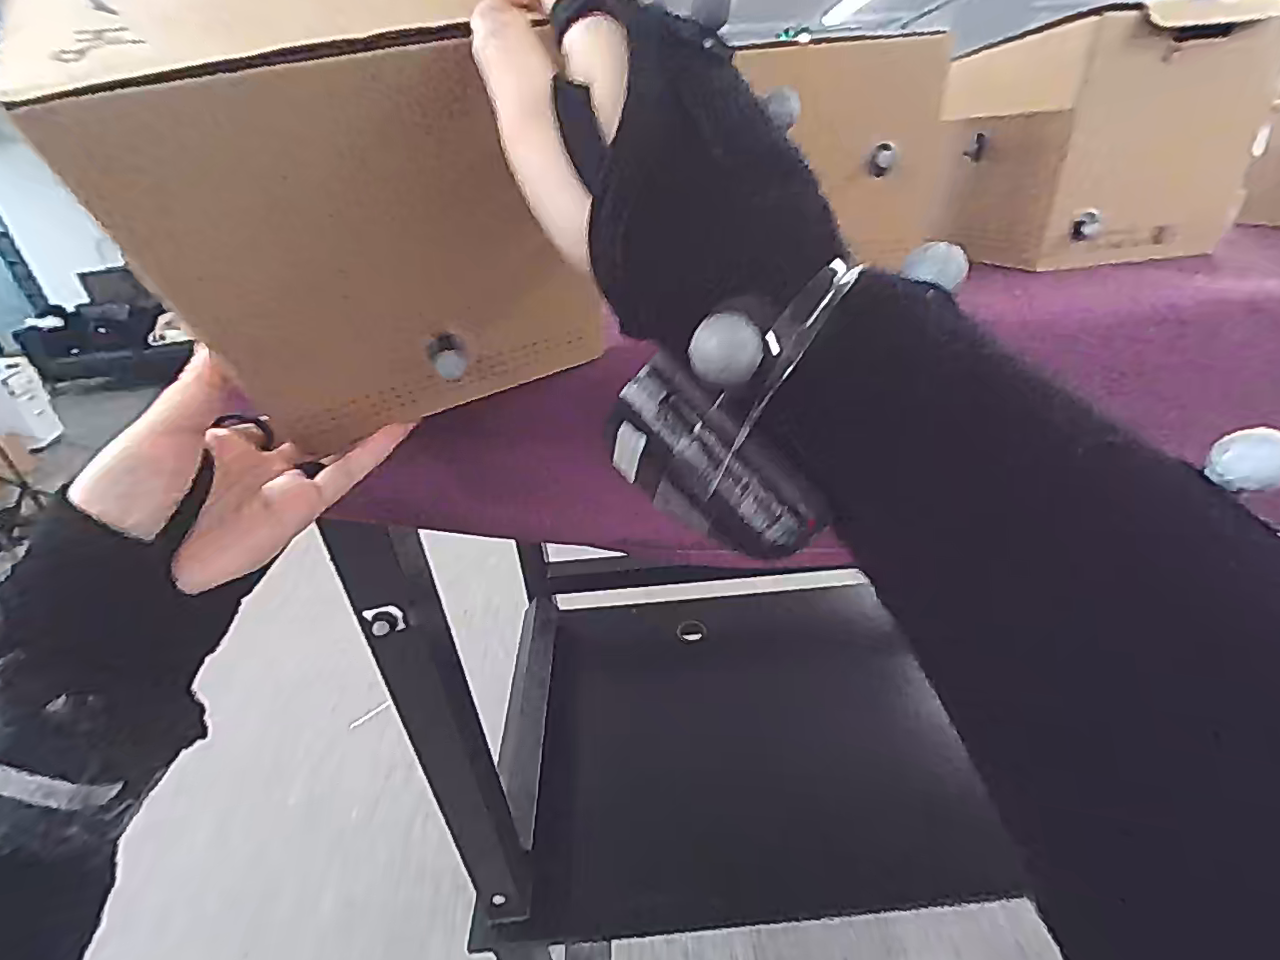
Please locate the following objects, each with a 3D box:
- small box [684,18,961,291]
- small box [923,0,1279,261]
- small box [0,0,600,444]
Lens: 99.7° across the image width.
[{"bbox_3d":[0.134,-0.270,0.472,0.179,0.176,0.168,-6,28,-1],"label":"small box"},{"bbox_3d":[0.378,-0.289,0.466,0.168,0.176,0.179,-7,28,-5],"label":"small box"},{"bbox_3d":[-0.131,-0.146,0.257,0.179,0.176,0.168,-22,62,-16],"label":"small box"}]
